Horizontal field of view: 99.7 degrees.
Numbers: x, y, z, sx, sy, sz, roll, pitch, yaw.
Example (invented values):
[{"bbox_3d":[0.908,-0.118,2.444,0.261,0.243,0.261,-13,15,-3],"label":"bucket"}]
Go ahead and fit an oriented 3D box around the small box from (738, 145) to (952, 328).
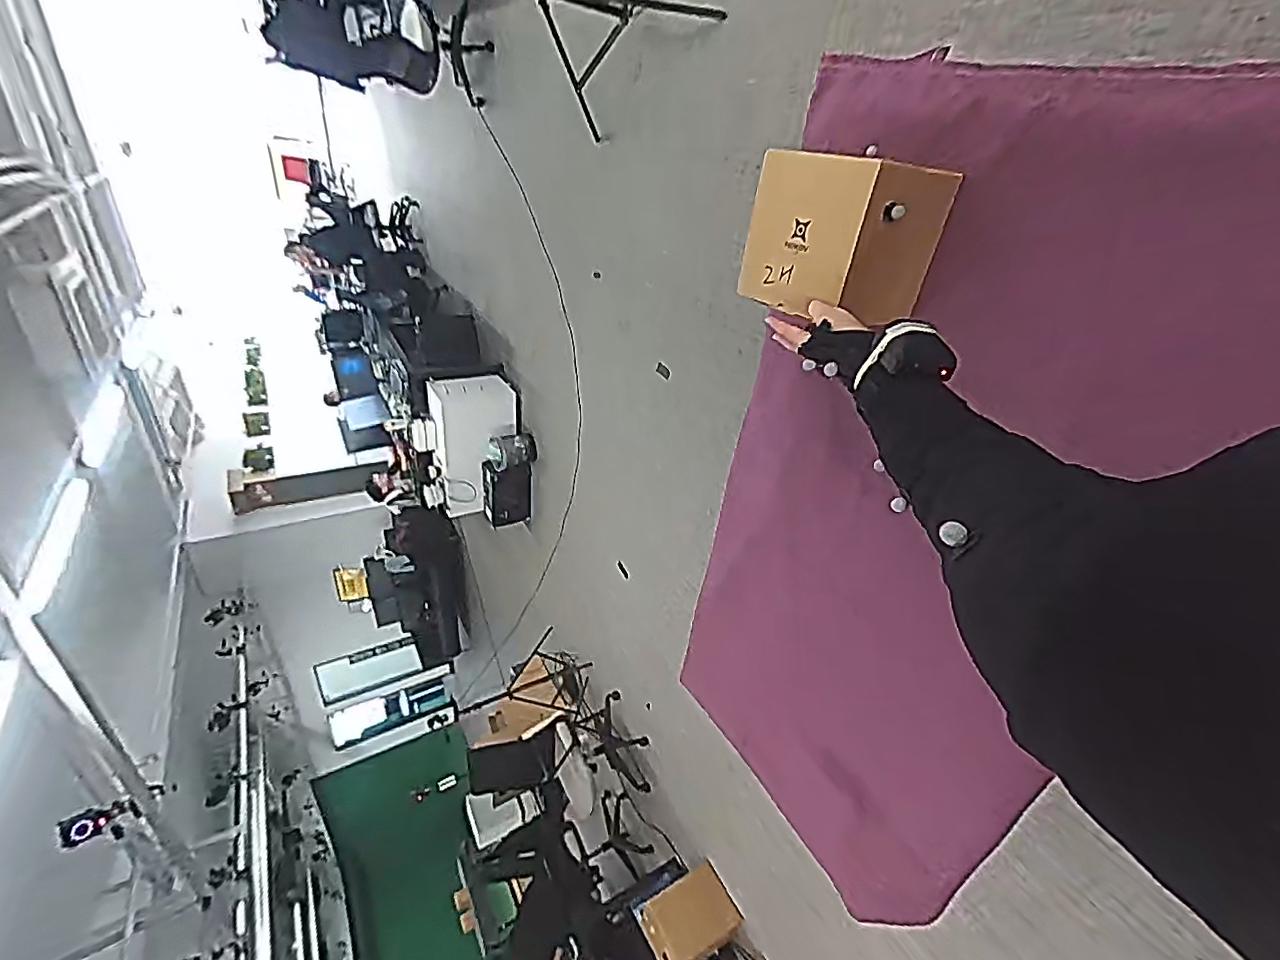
[{"bbox_3d":[0.256,-0.306,0.683,0.168,0.176,0.179,42,135,43],"label":"small box"}]
